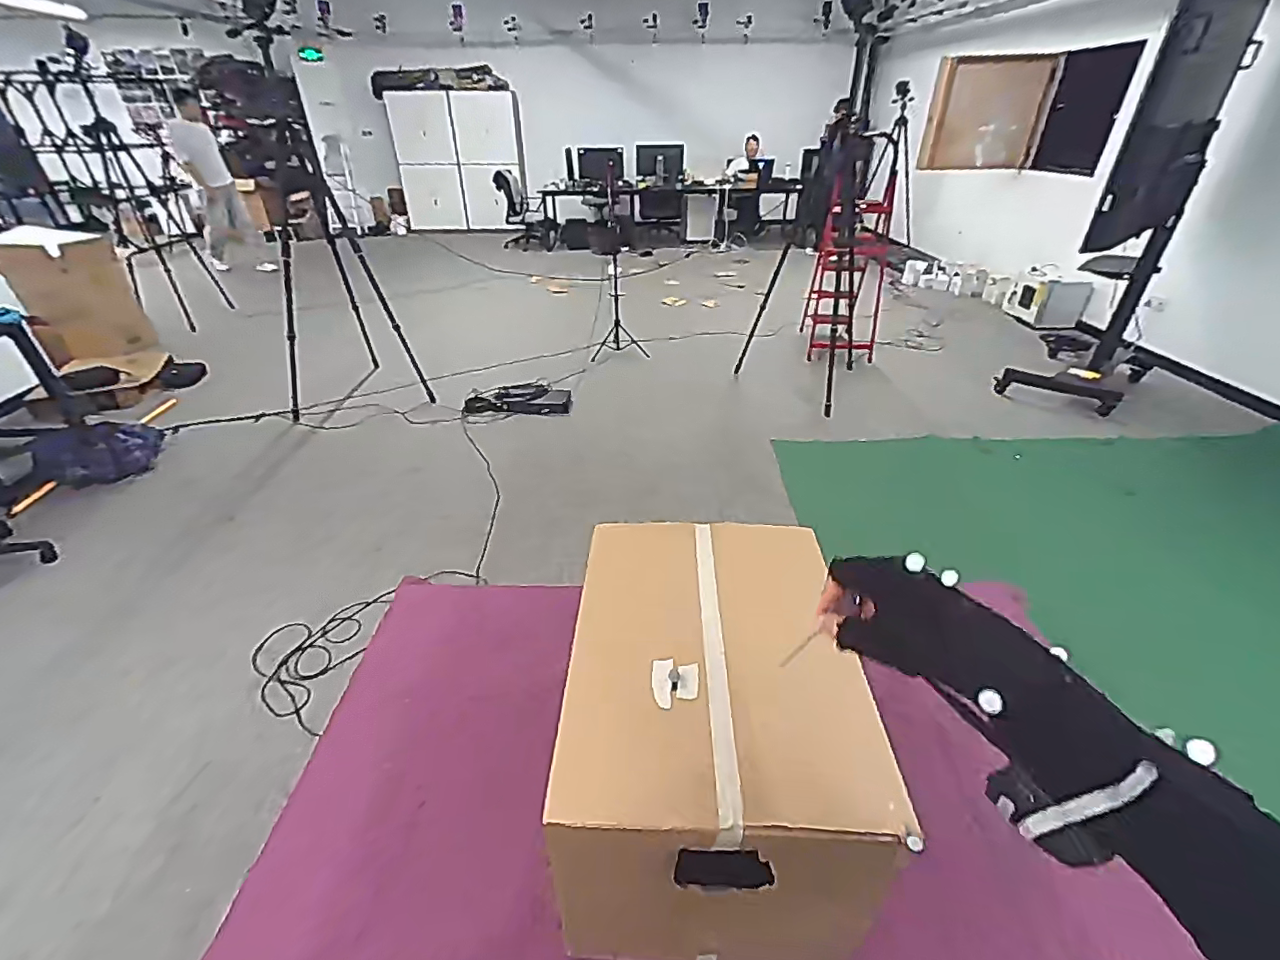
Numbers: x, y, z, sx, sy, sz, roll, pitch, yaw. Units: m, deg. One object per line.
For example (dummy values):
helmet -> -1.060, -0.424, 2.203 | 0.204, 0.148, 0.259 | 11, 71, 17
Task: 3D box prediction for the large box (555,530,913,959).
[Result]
large box -> 0.082, 0.311, 0.702 | 0.320, 0.320, 0.408 | 1, 34, 2
